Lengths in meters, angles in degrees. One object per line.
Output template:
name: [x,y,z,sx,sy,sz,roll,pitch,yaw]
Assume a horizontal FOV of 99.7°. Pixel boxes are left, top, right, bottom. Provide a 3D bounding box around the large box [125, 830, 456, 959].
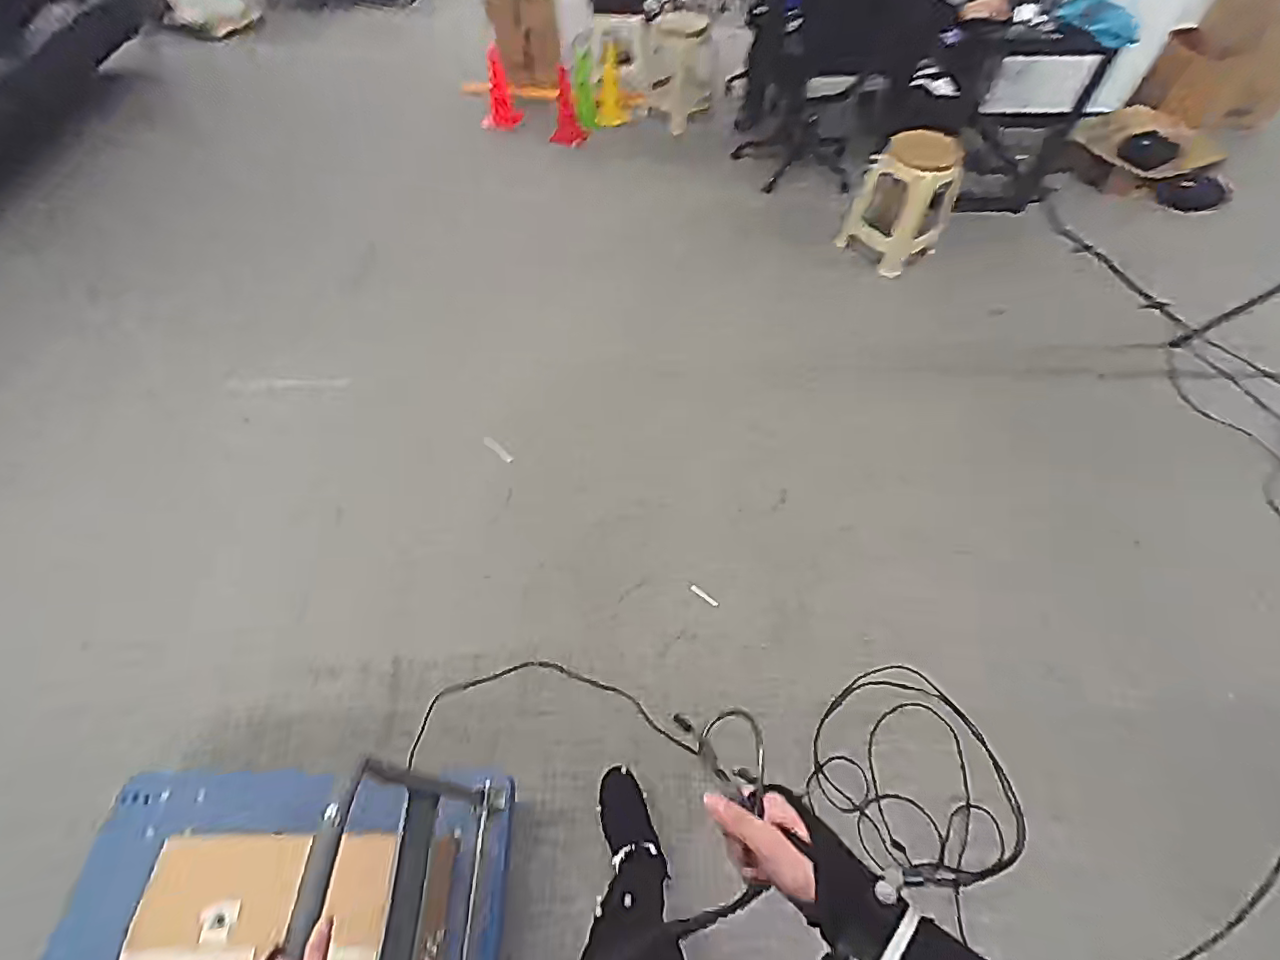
large box: [-0.583,0.806,0.951,0.408,0.320,0.320,-1,57,0]
